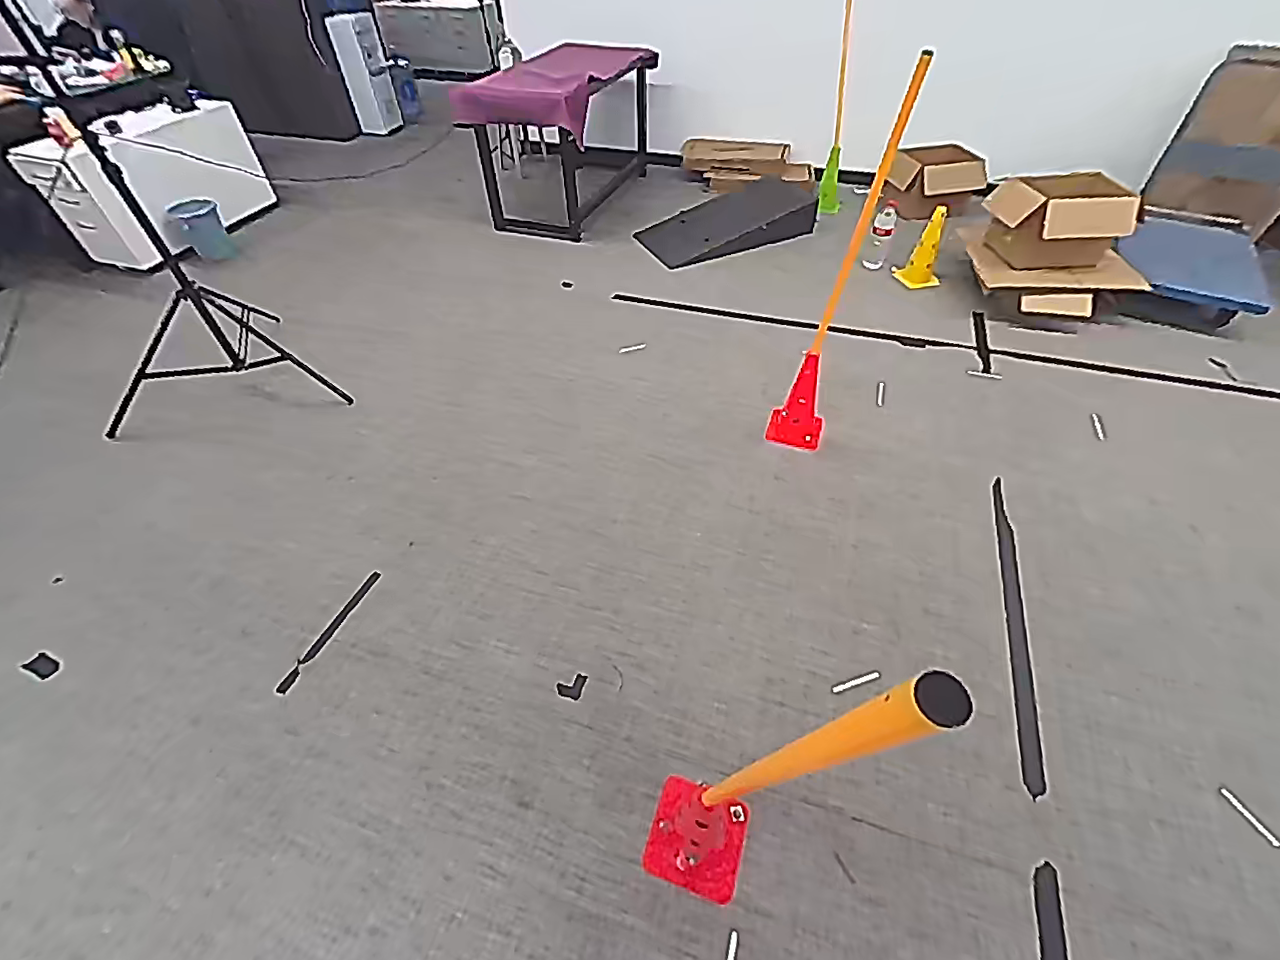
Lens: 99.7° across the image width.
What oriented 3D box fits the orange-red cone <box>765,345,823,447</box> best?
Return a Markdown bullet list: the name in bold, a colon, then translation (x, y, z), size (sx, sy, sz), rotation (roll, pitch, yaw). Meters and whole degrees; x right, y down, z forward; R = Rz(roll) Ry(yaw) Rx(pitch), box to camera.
- **orange-red cone**: translation (0.590, -0.326, 1.953), size (0.198, 0.360, 0.199), rotation (16, 49, 15)
